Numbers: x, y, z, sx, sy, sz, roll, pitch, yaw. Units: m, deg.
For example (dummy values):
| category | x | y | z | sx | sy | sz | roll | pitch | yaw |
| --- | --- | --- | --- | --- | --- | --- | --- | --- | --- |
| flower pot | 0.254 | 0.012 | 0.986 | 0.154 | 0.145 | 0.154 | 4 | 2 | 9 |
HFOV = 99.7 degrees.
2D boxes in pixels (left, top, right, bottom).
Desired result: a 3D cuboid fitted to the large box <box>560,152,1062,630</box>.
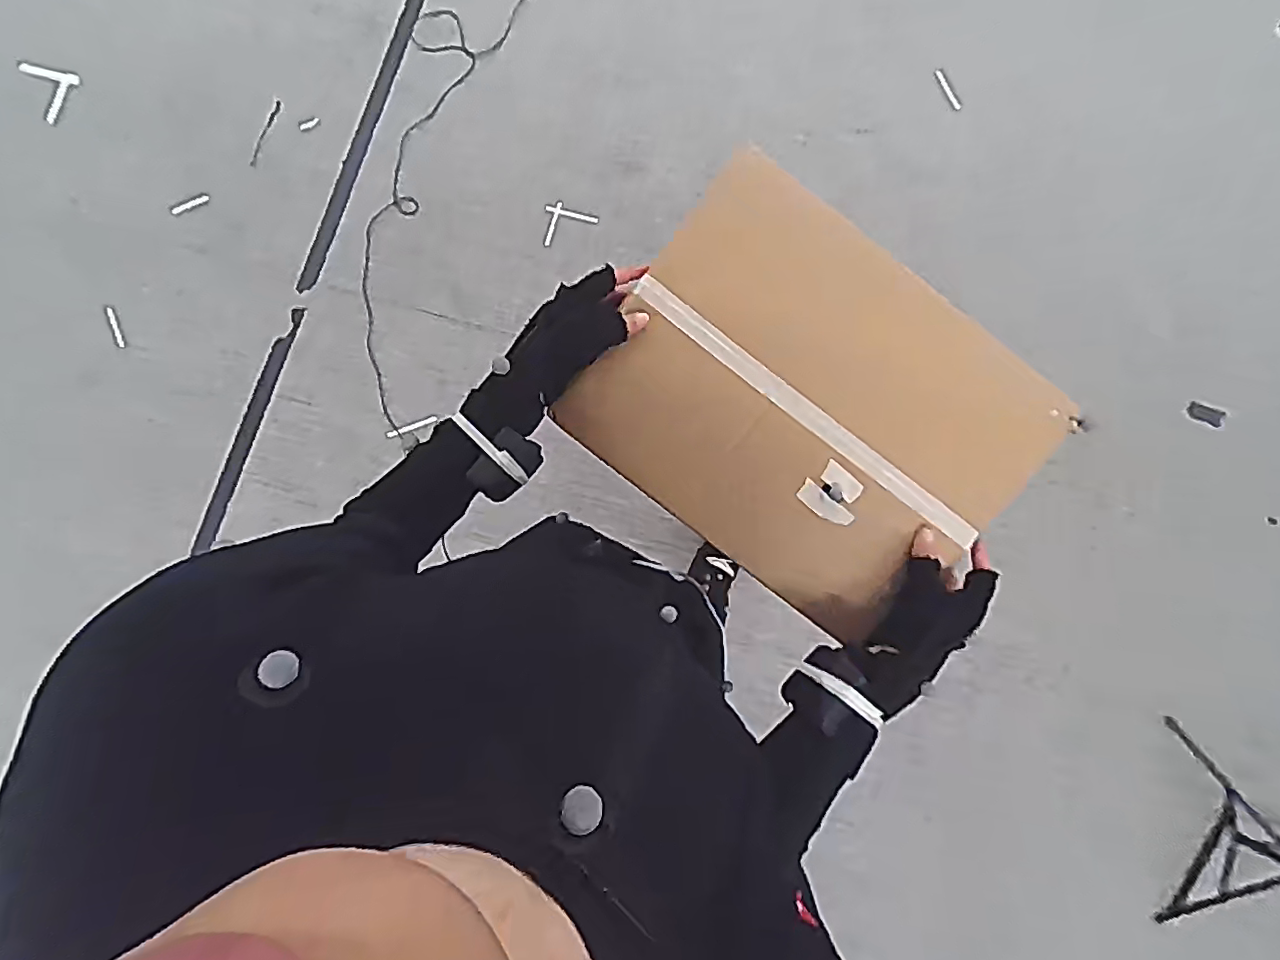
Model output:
| category | x | y | z | sx | sy | sz | roll | pitch | yaw |
| --- | --- | --- | --- | --- | --- | --- | --- | --- | --- |
| large box | 0.169 | -0.097 | 0.683 | 0.408 | 0.320 | 0.320 | 37 | 99 | -3 |
